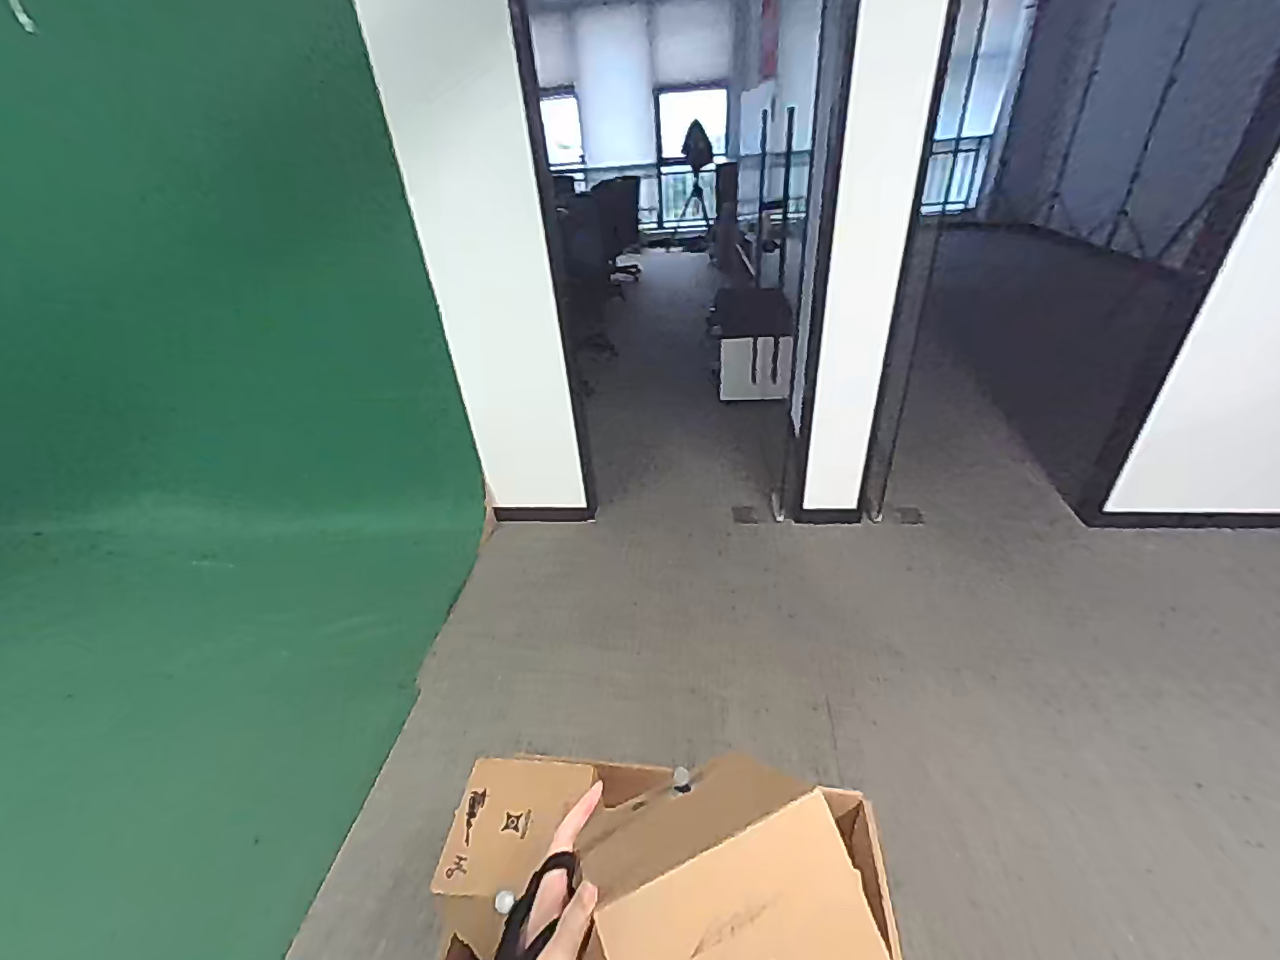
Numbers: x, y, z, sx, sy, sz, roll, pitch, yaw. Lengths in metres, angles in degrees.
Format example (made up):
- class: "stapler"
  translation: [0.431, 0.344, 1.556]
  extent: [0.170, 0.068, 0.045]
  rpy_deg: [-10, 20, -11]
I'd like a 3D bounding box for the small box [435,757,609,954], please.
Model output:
- class: "small box"
  translation: [-0.143, 0.510, 0.737]
  extent: [0.179, 0.176, 0.168]
  rpy_deg: [0, 33, 8]
